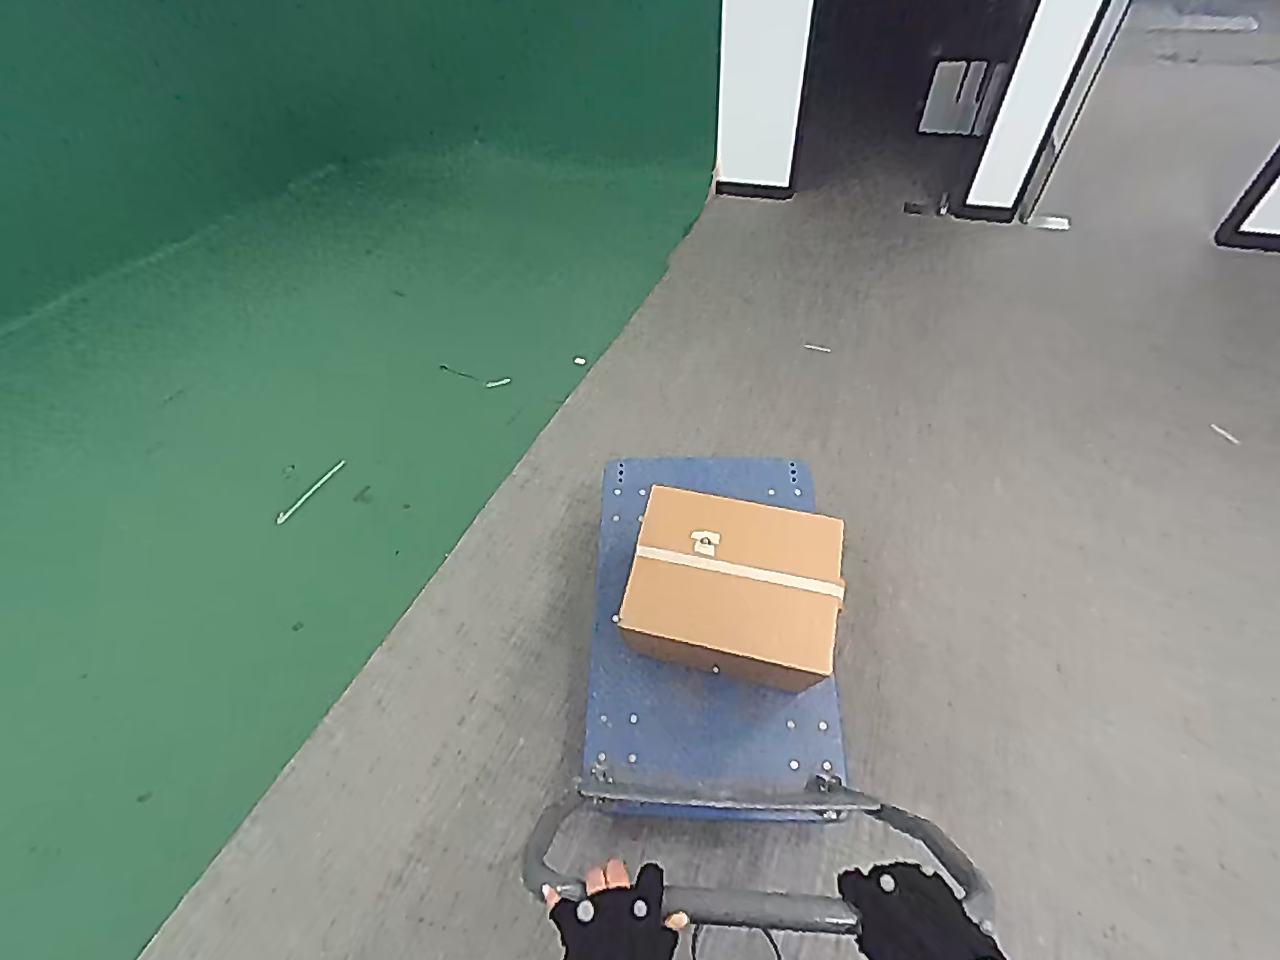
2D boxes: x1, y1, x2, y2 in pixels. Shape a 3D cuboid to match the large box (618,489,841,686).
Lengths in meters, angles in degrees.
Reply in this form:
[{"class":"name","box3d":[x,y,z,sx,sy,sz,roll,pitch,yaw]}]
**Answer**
[{"class":"large box","box3d":[0.199,0.249,1.204,0.408,0.320,0.320,10,65,11]}]
